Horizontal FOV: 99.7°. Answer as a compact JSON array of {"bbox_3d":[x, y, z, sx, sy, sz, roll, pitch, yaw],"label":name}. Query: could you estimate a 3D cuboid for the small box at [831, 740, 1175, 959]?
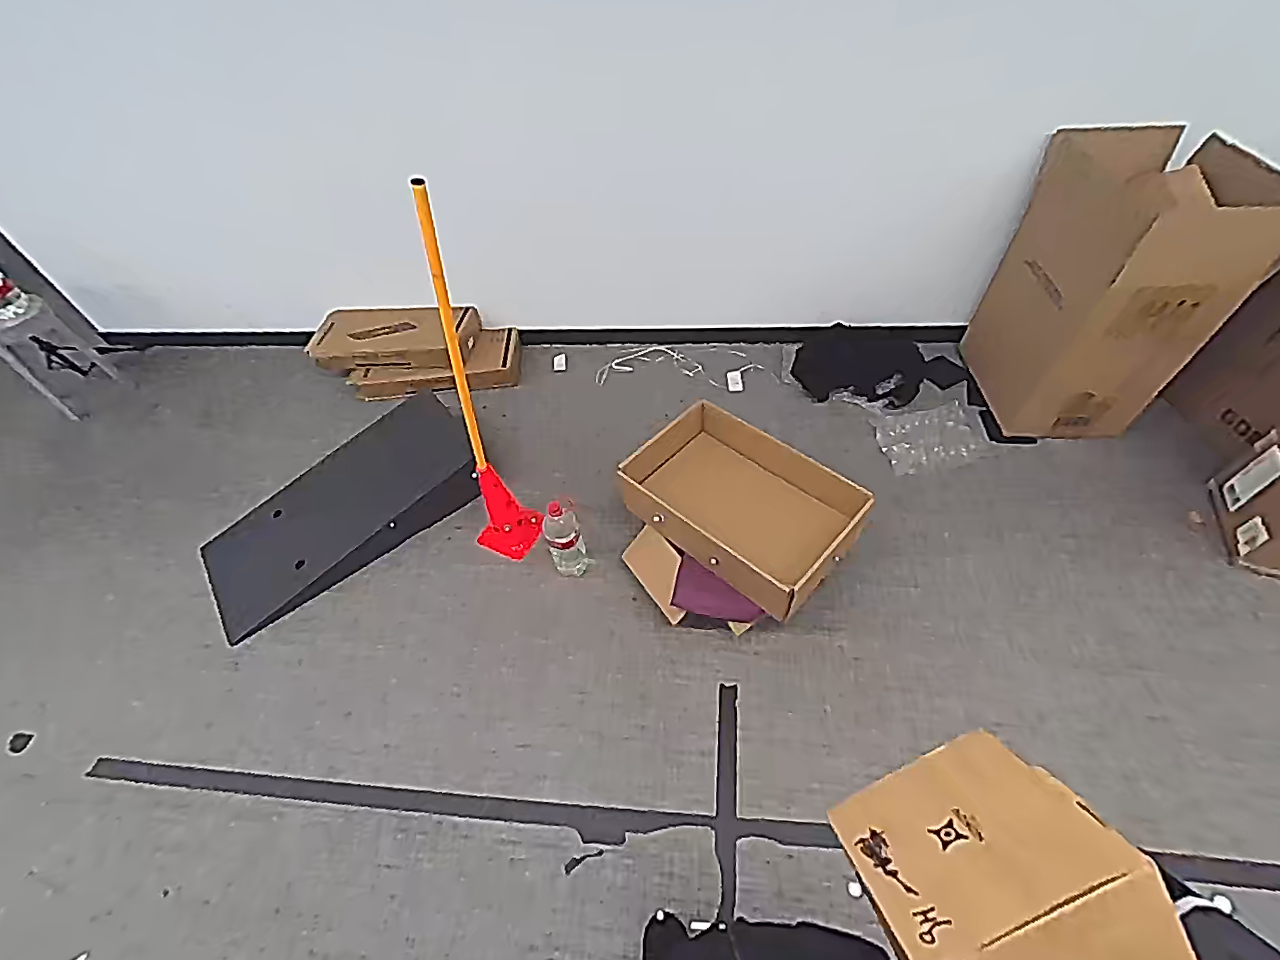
[{"bbox_3d":[0.300,0.370,0.457,0.179,0.168,0.176,-26,94,-1],"label":"small box"}]
